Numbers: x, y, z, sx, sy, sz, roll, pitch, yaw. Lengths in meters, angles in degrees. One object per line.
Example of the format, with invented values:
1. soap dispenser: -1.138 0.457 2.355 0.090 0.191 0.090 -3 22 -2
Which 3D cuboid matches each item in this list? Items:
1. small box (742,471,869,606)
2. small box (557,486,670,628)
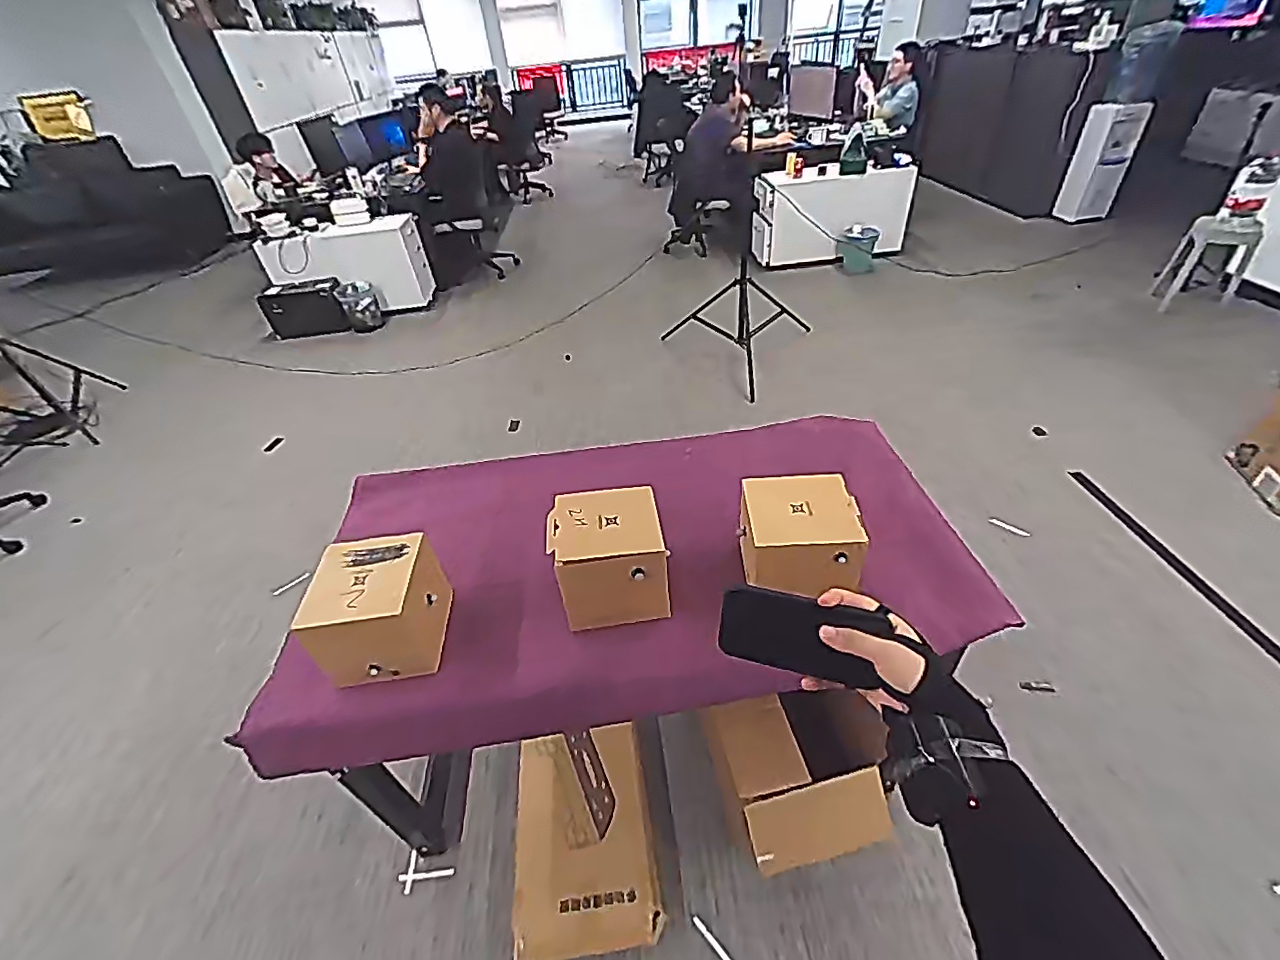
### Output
1. small box: 0.273 0.104 0.938 0.179 0.176 0.168 -4 40 3
2. small box: -0.044 0.134 0.944 0.179 0.176 0.168 -8 37 -2
